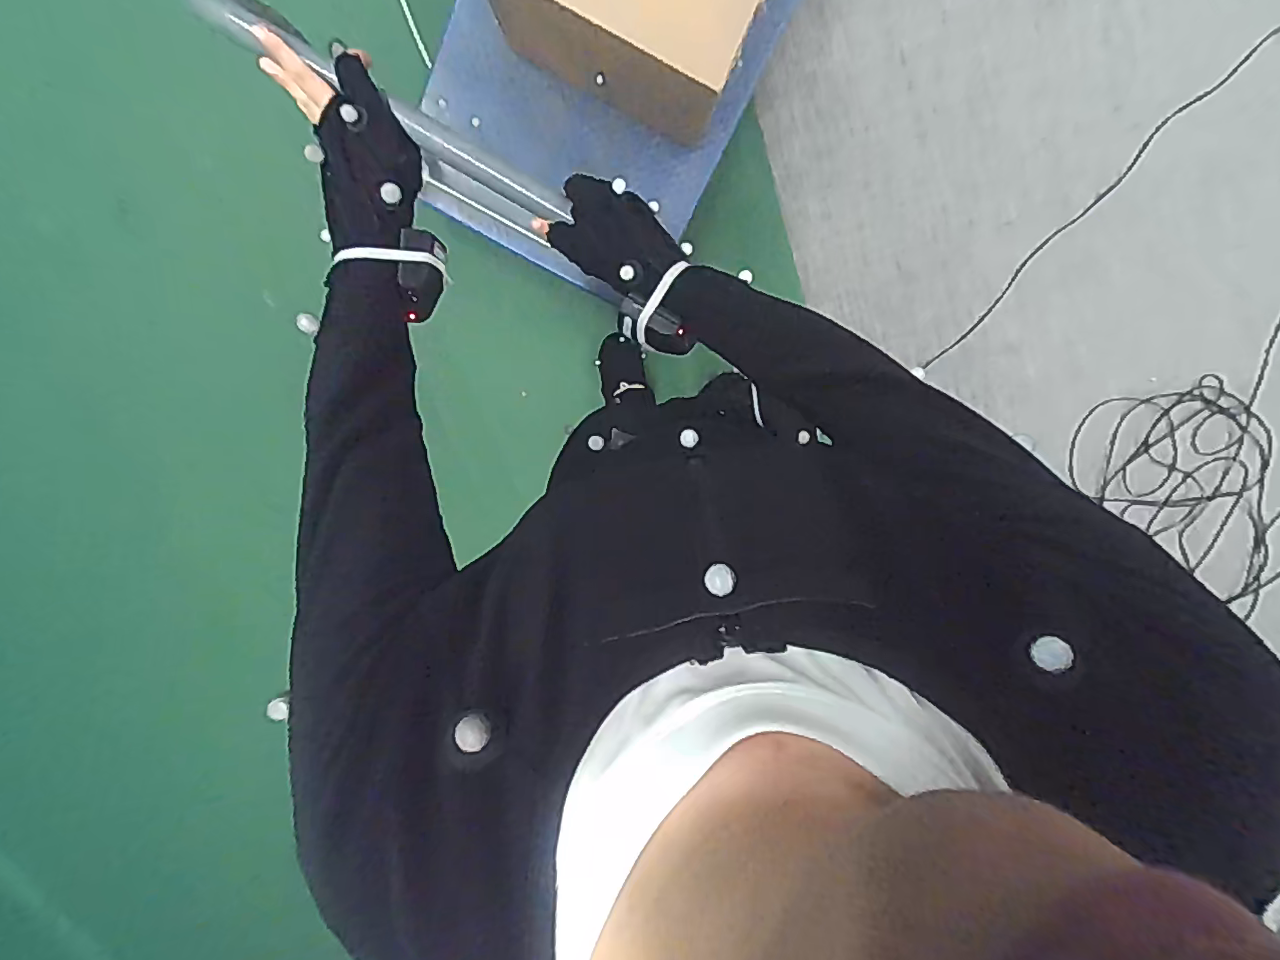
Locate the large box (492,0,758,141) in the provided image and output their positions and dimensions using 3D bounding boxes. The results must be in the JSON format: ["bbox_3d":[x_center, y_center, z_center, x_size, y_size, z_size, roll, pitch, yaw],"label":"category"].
[{"bbox_3d":[-0.001,-0.849,0.901,0.408,0.320,0.320,23,105,-8],"label":"large box"}]
